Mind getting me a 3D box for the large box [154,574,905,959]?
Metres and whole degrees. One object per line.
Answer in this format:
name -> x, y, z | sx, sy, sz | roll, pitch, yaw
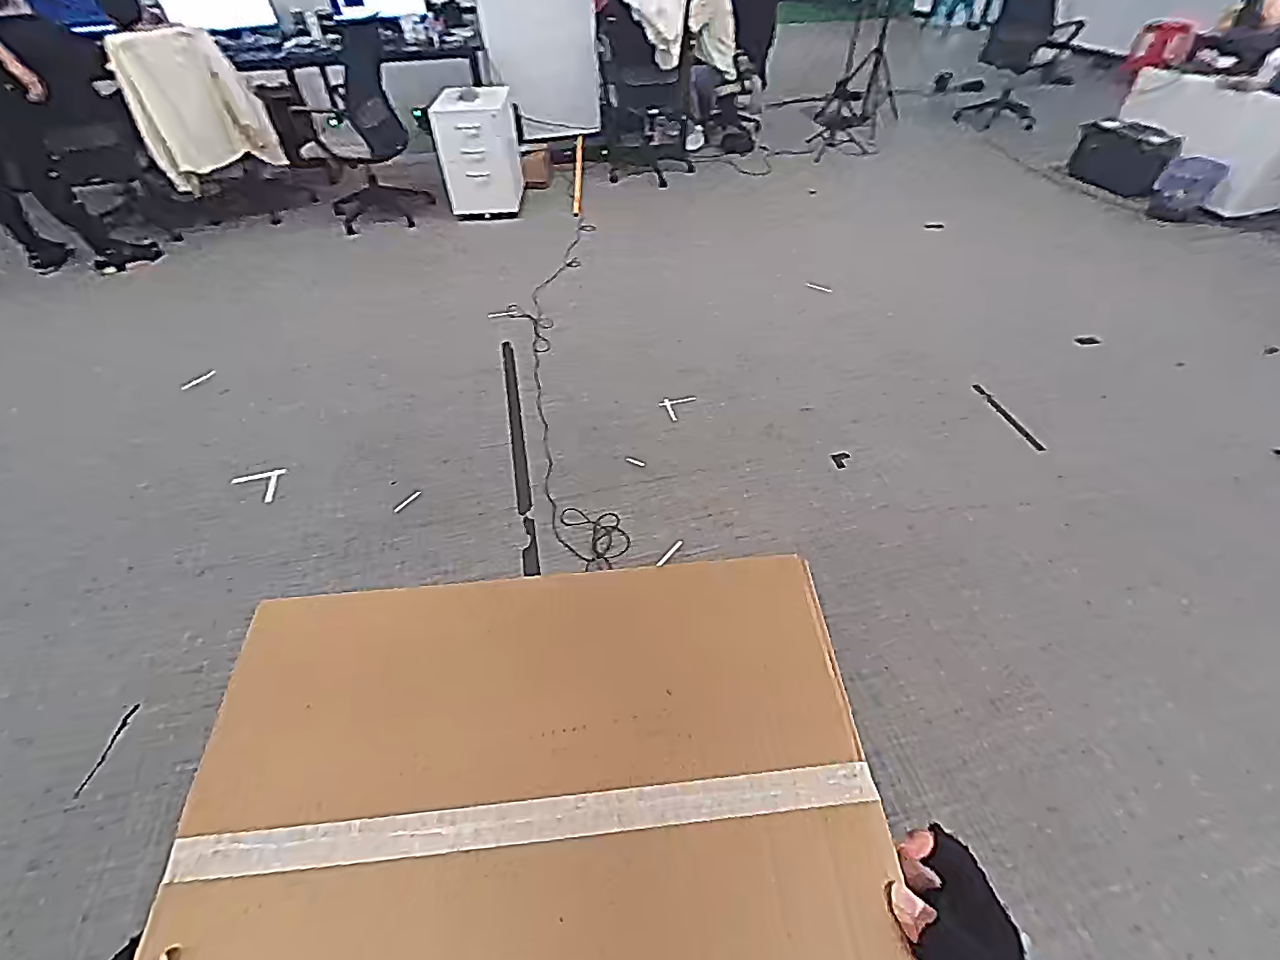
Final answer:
large box -> -0.061, 0.300, 0.440 | 0.408, 0.320, 0.320 | -5, 53, -3
